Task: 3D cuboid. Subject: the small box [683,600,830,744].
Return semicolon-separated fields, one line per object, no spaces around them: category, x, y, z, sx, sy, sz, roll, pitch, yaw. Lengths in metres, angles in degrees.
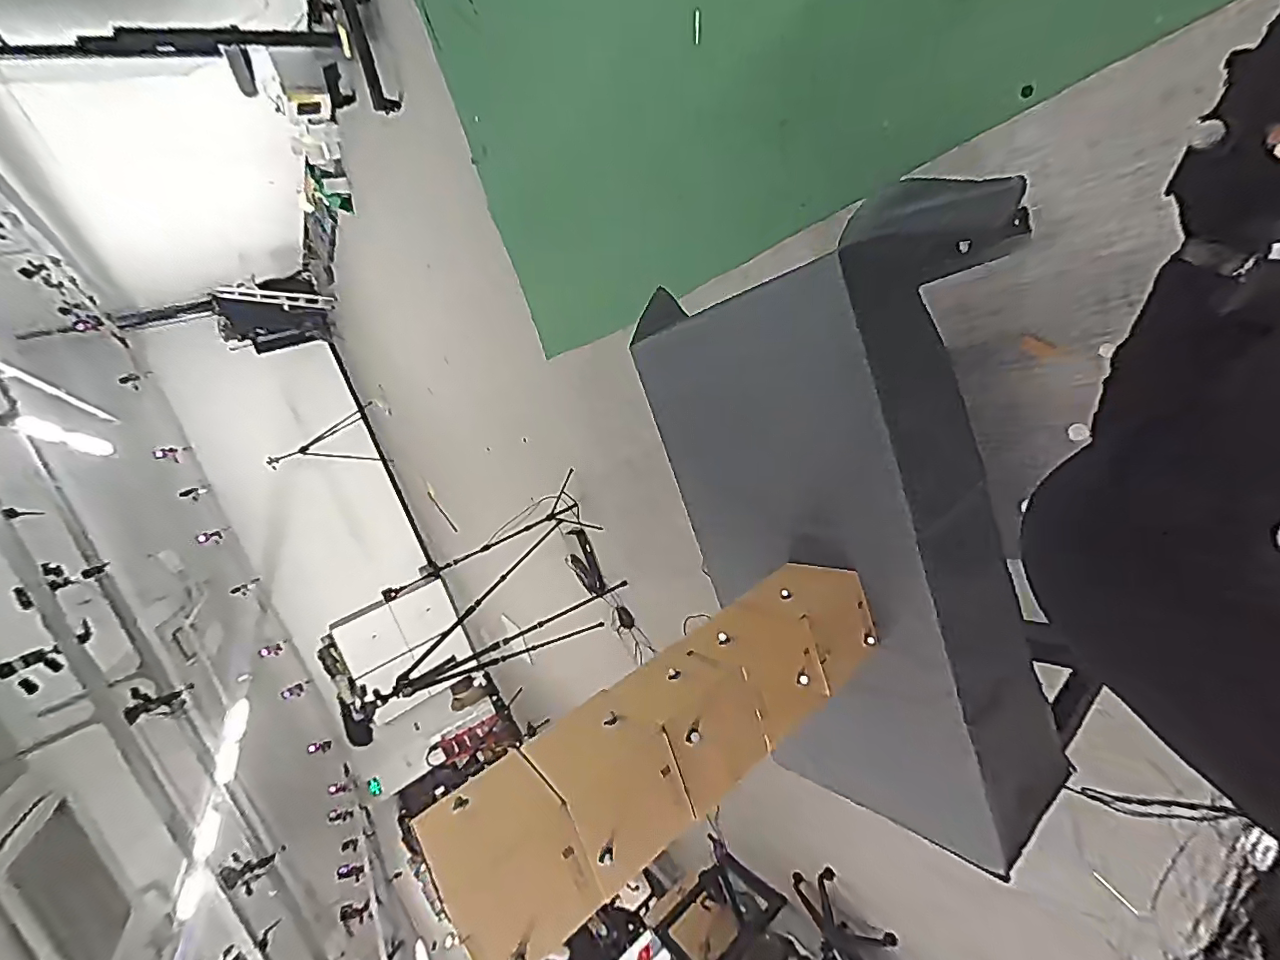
small box;0.213;0.337;0.992;0.179;0.176;0.168;-4;108;57

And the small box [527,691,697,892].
small box;-0.043;0.451;0.821;0.179;0.176;0.168;1;112;57

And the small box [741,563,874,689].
small box;0.339;0.278;1.075;0.179;0.176;0.168;-4;108;59

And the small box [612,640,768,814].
small box;0.086;0.396;0.905;0.168;0.176;0.179;-1;110;57
